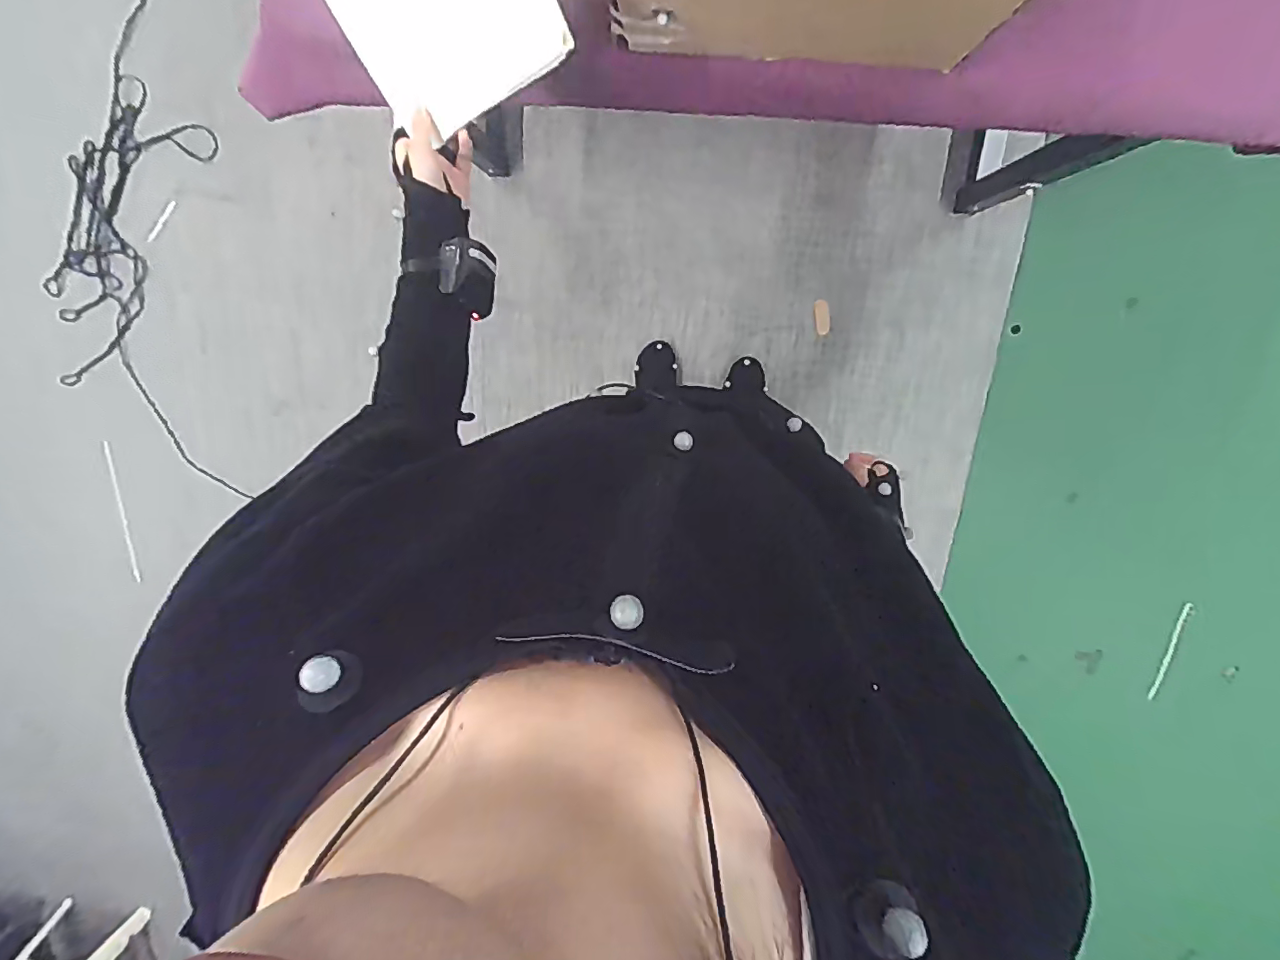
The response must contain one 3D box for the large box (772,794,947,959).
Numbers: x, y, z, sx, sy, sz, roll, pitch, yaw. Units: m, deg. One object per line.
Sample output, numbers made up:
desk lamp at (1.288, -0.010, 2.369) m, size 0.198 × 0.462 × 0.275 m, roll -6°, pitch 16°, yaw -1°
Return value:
large box at (0.647, 1.218, 1.644) m, size 0.408 × 0.320 × 0.320 m, roll -10°, pitch 105°, yaw 6°
